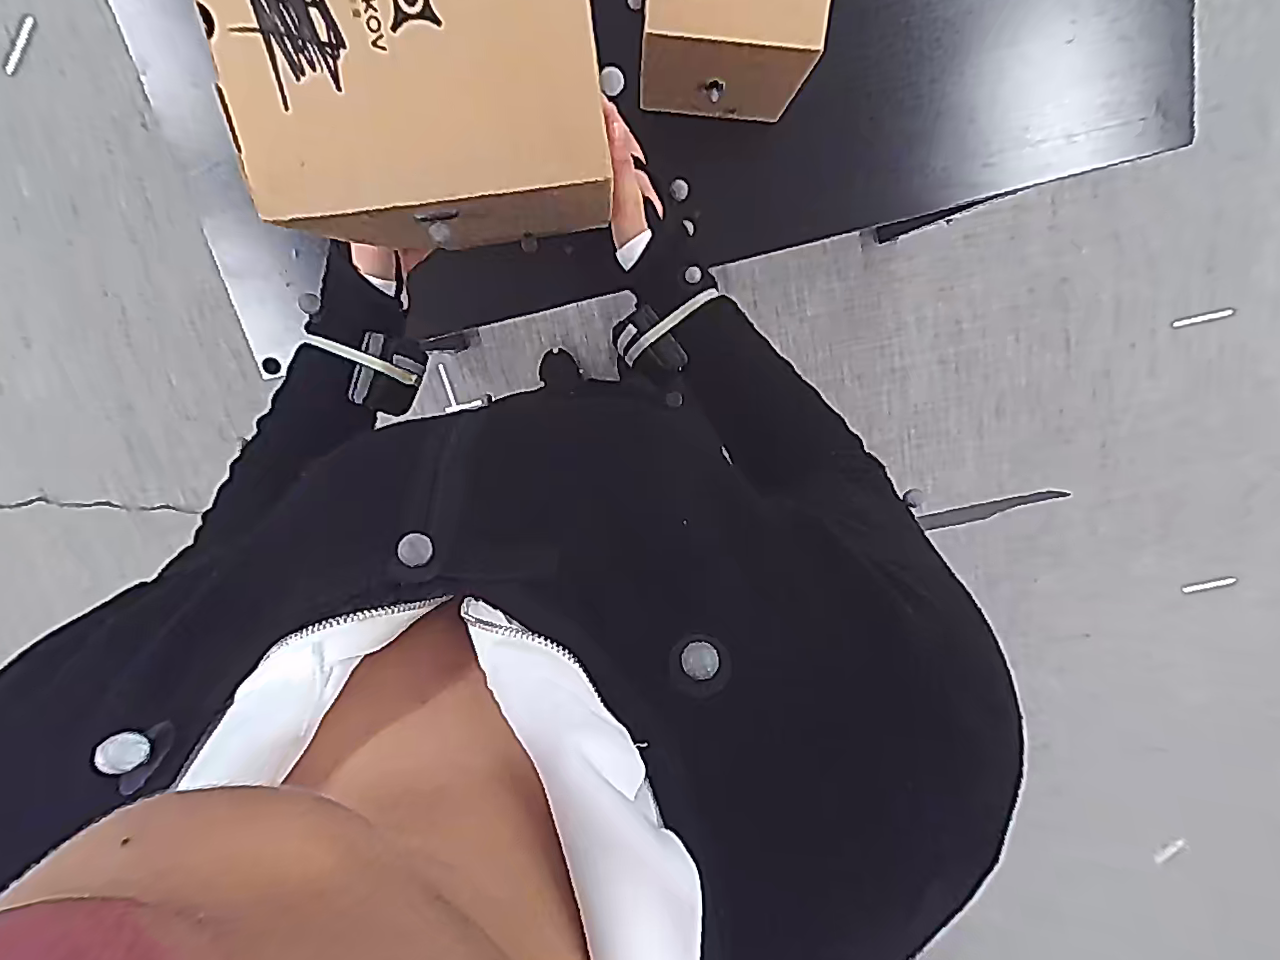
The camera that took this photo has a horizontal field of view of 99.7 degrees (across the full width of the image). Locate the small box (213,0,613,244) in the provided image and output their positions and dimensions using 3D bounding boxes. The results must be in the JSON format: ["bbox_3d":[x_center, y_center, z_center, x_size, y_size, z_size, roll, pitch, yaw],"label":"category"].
[{"bbox_3d":[-0.111,-0.244,0.324,0.179,0.176,0.168,-7,109,-1],"label":"small box"}]

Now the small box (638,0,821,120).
[{"bbox_3d":[0.087,-0.503,0.557,0.168,0.176,0.179,4,104,-3],"label":"small box"}]
